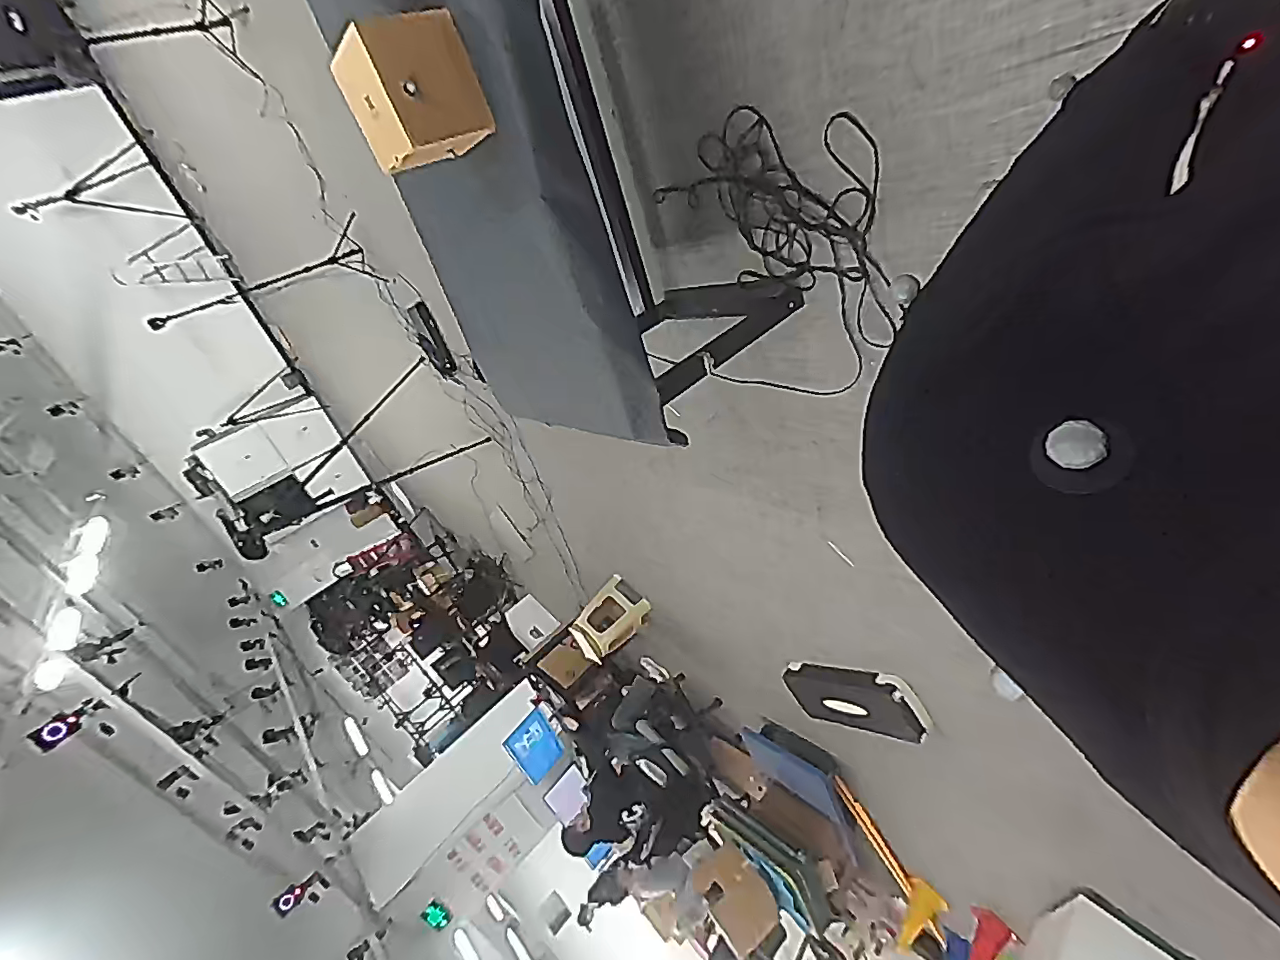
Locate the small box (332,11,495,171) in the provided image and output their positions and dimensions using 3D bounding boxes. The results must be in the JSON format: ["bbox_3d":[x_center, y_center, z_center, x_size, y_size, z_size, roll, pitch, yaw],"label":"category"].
[{"bbox_3d":[-0.385,-0.667,0.930,0.168,0.176,0.179,14,134,49],"label":"small box"}]
